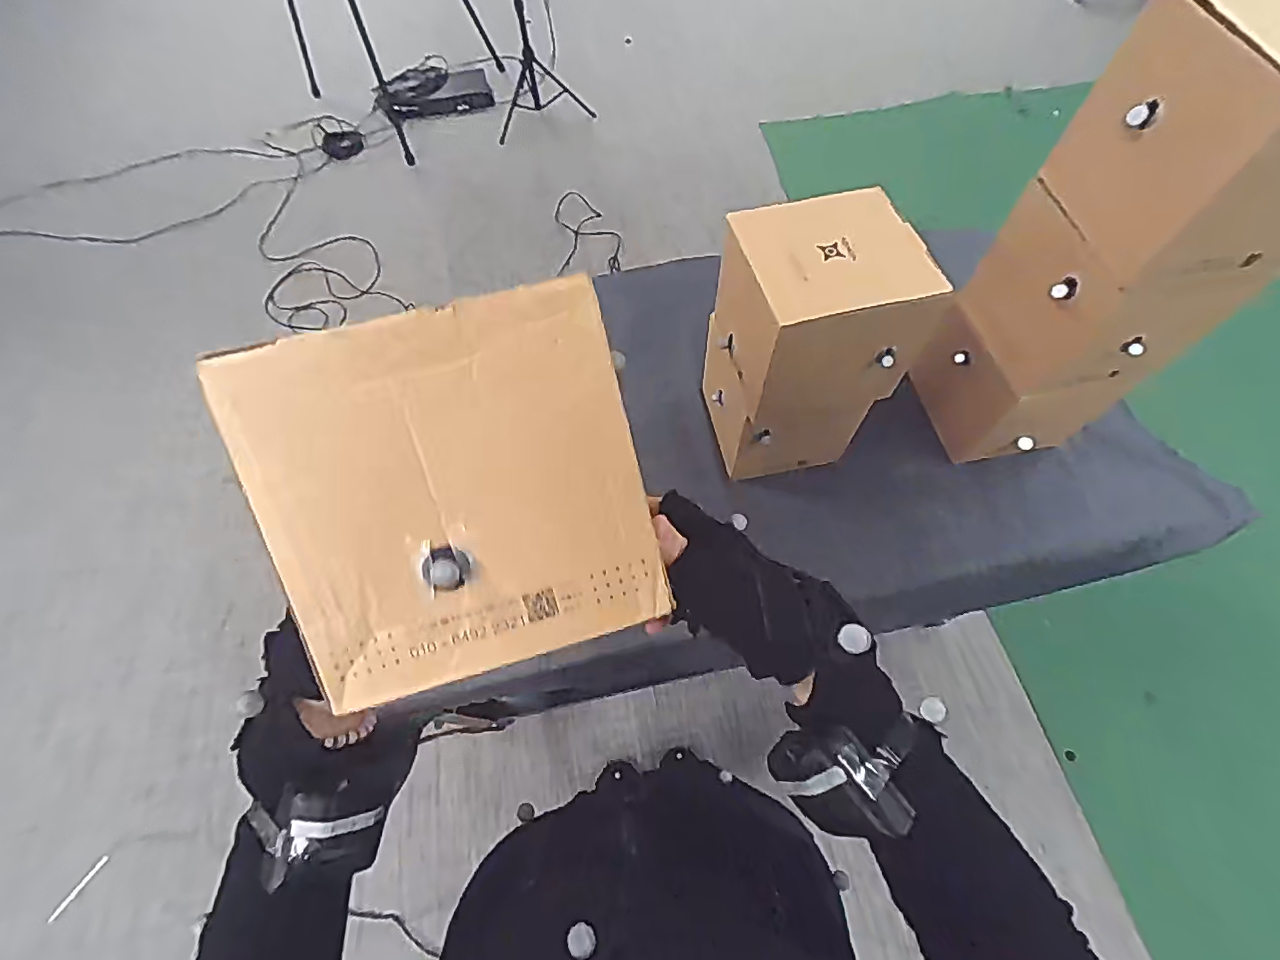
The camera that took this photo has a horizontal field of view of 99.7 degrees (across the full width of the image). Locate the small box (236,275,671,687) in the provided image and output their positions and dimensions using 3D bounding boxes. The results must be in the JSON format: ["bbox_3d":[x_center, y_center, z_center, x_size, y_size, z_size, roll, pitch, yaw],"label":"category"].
[{"bbox_3d":[-0.090,-0.005,0.332,0.168,0.179,0.176,-15,99,-7],"label":"small box"}]

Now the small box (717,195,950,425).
[{"bbox_3d":[0.198,-0.185,0.614,0.179,0.176,0.168,-12,62,-4],"label":"small box"}]

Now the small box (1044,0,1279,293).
[{"bbox_3d":[0.511,-0.292,0.473,0.168,0.176,0.179,-7,62,-1],"label":"small box"}]

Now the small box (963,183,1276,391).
[{"bbox_3d":[0.517,-0.218,0.619,0.168,0.176,0.179,-8,62,-2],"label":"small box"}]
